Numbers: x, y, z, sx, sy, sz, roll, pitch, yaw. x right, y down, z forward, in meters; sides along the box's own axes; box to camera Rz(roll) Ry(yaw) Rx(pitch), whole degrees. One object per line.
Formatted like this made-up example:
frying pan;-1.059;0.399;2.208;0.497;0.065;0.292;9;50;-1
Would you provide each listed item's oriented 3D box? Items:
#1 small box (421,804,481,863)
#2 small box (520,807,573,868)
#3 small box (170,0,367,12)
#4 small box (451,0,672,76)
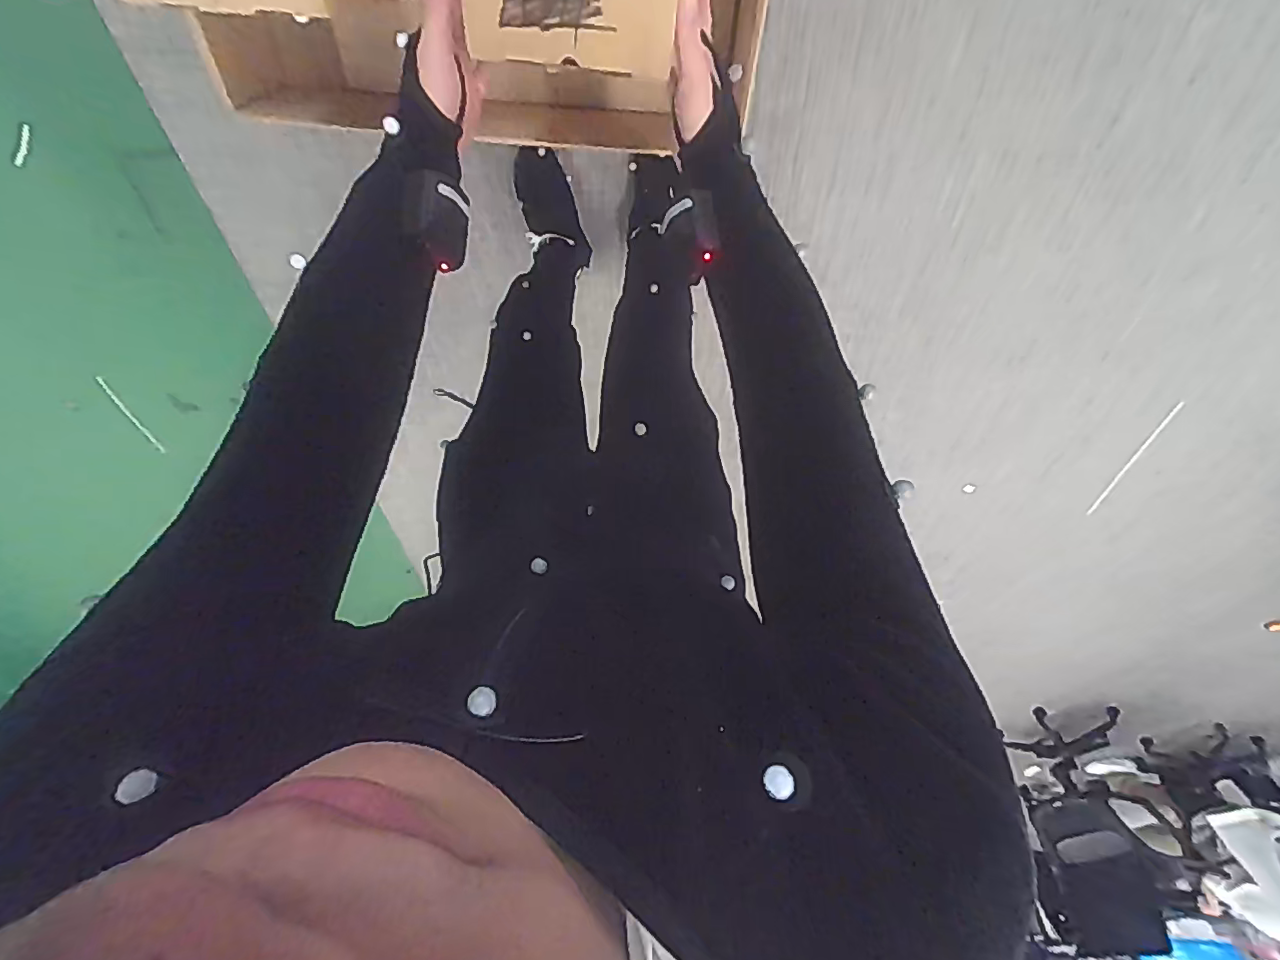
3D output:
small box;-0.754;1.425;2.179;0.168;0.176;0.179;0;136;2
small box;-0.365;1.425;2.155;0.168;0.176;0.179;-1;135;4
small box;-0.313;-0.476;0.402;0.168;0.176;0.179;4;136;0
small box;-0.050;-0.446;0.420;0.168;0.176;0.179;5;136;-2
